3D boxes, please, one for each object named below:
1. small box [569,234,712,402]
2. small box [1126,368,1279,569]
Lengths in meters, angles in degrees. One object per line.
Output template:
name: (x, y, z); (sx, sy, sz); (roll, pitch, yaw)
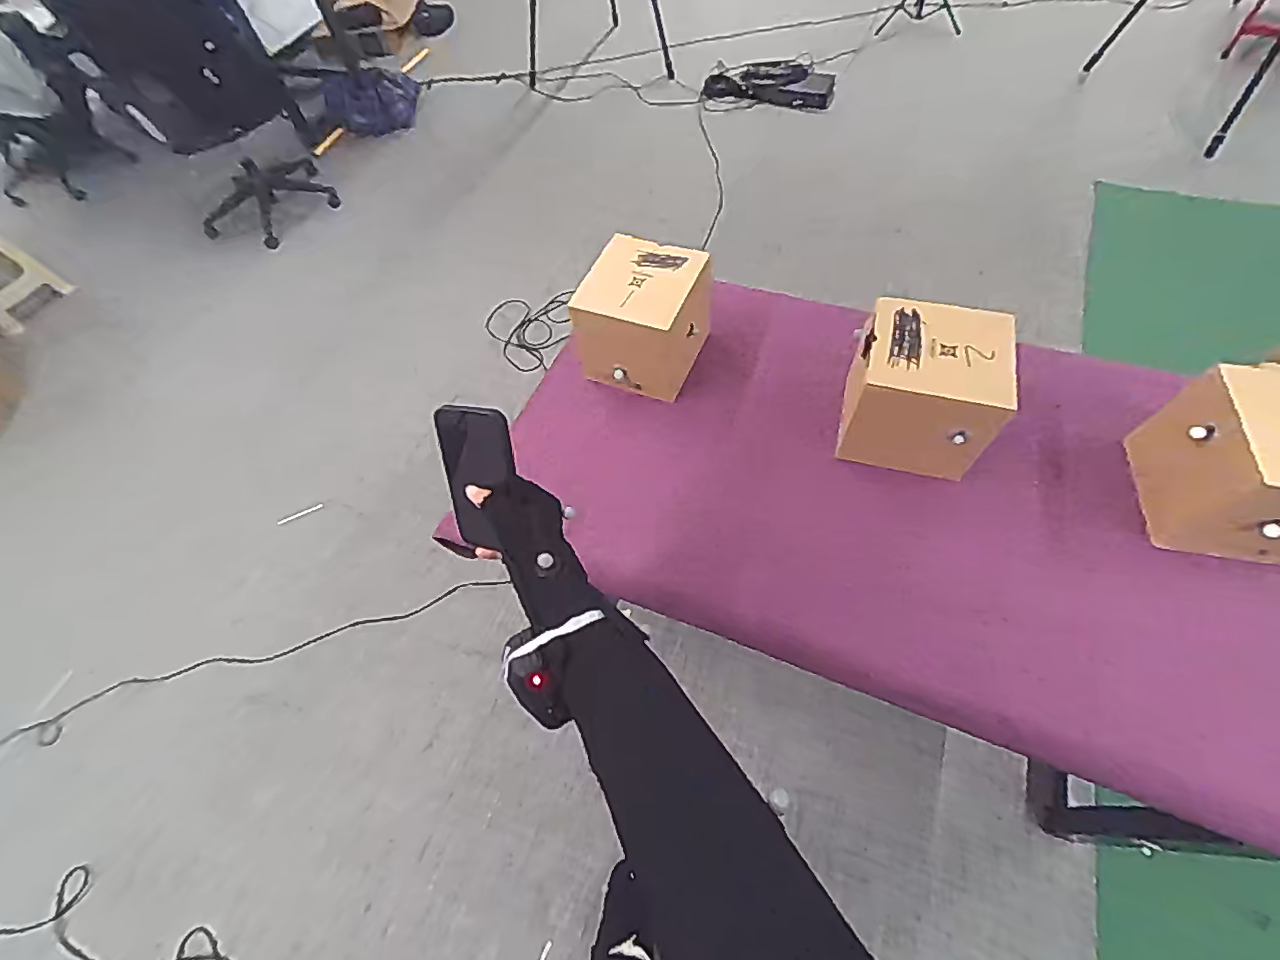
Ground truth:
small box: (0.008, -0.260, 0.878); (0.168, 0.176, 0.179); (19, 64, 16)
small box: (0.750, -0.008, 0.656); (0.168, 0.176, 0.179); (8, 59, 11)
